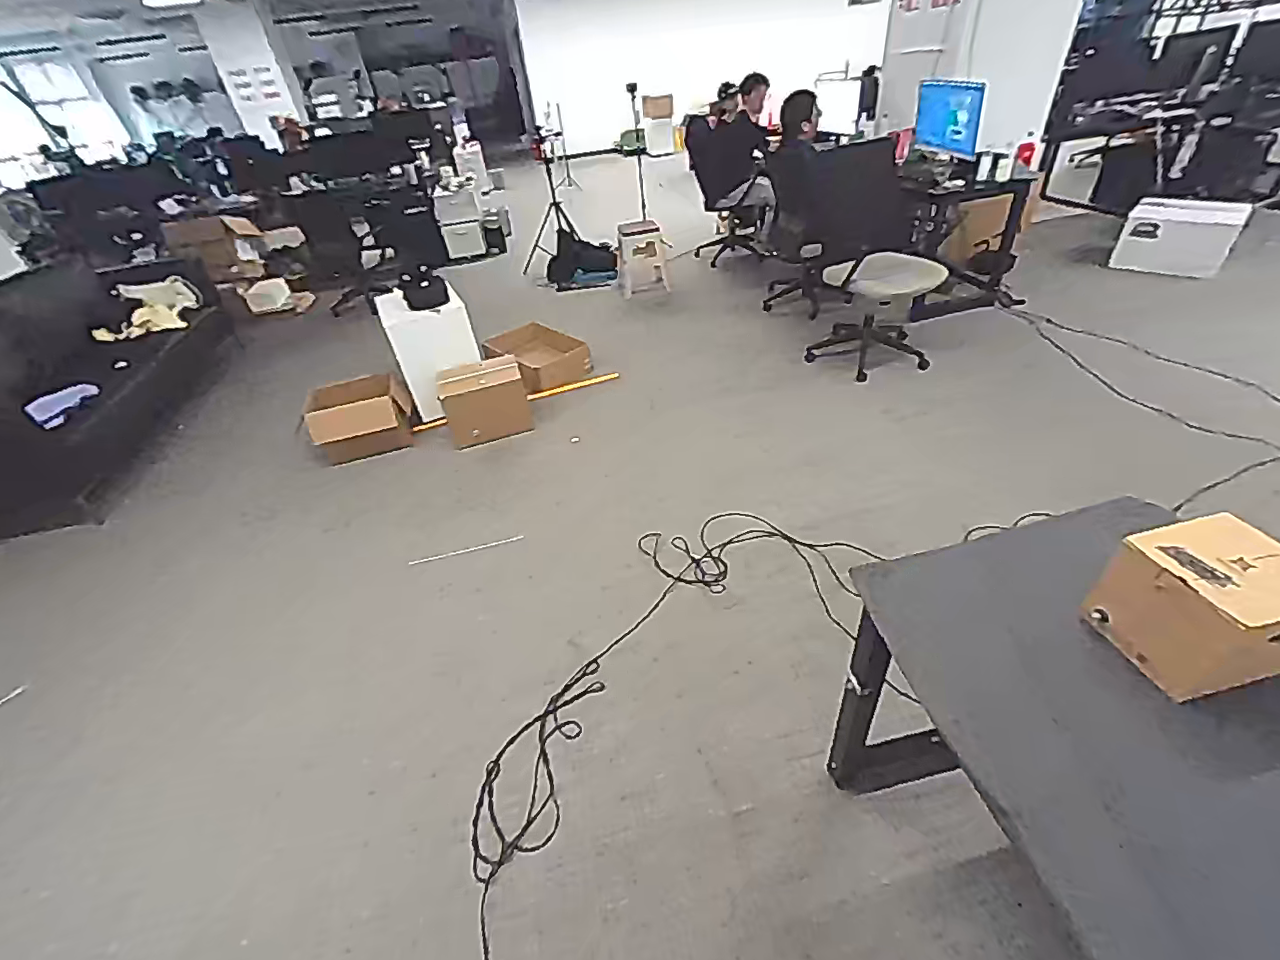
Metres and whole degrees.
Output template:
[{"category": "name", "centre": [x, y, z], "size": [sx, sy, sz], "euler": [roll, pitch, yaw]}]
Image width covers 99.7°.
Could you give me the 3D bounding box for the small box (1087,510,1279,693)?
[{"category": "small box", "centre": [0.786, 0.172, 0.761], "size": [0.179, 0.176, 0.168], "euler": [-12, 39, -7]}]
